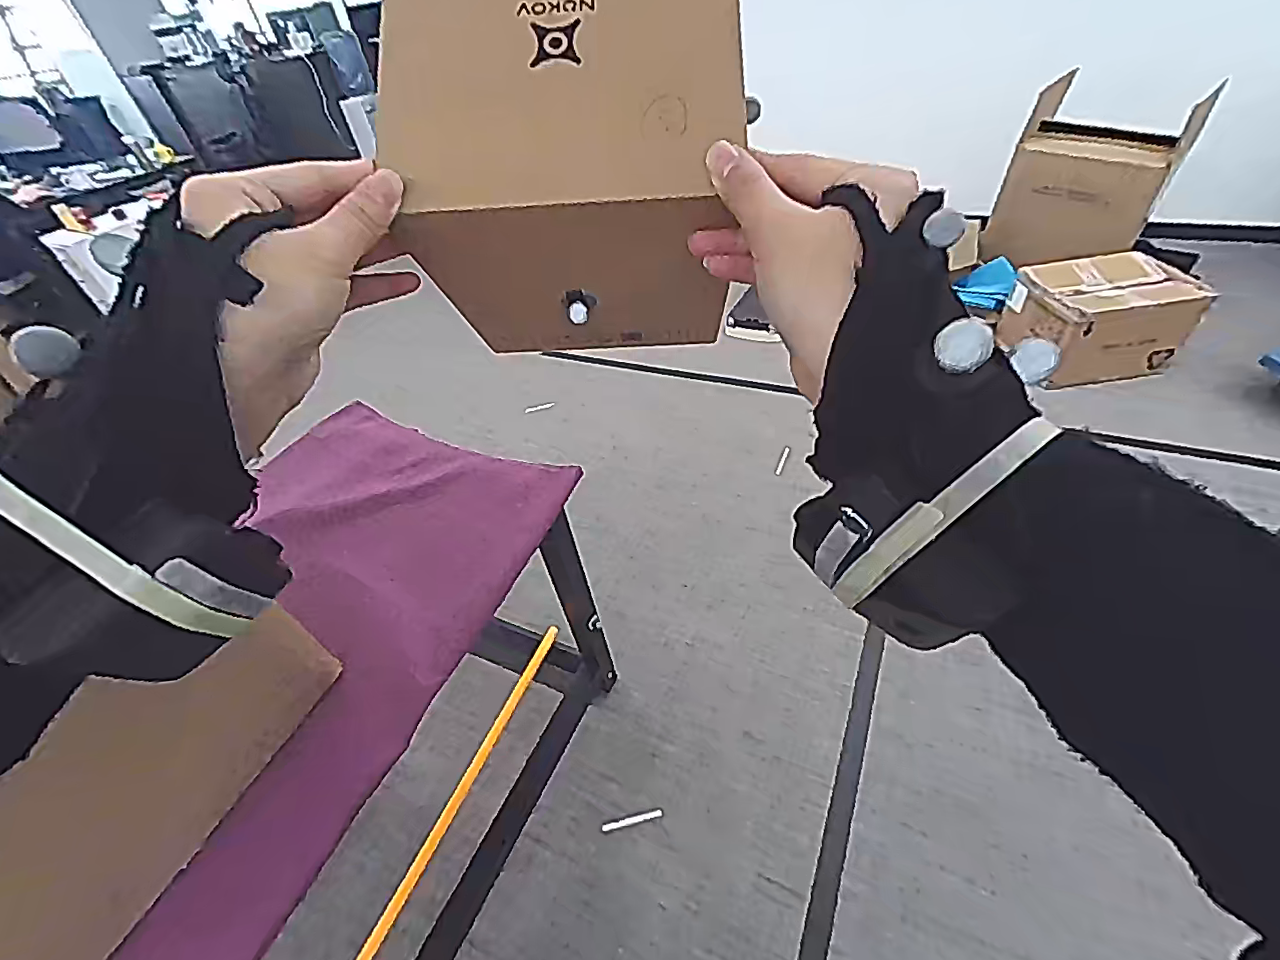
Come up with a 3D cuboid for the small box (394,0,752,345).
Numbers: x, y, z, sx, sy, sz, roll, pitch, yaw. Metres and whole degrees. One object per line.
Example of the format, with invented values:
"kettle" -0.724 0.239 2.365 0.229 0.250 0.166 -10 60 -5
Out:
"small box" -0.027 -0.190 0.330 0.168 0.176 0.179 -1 82 2
